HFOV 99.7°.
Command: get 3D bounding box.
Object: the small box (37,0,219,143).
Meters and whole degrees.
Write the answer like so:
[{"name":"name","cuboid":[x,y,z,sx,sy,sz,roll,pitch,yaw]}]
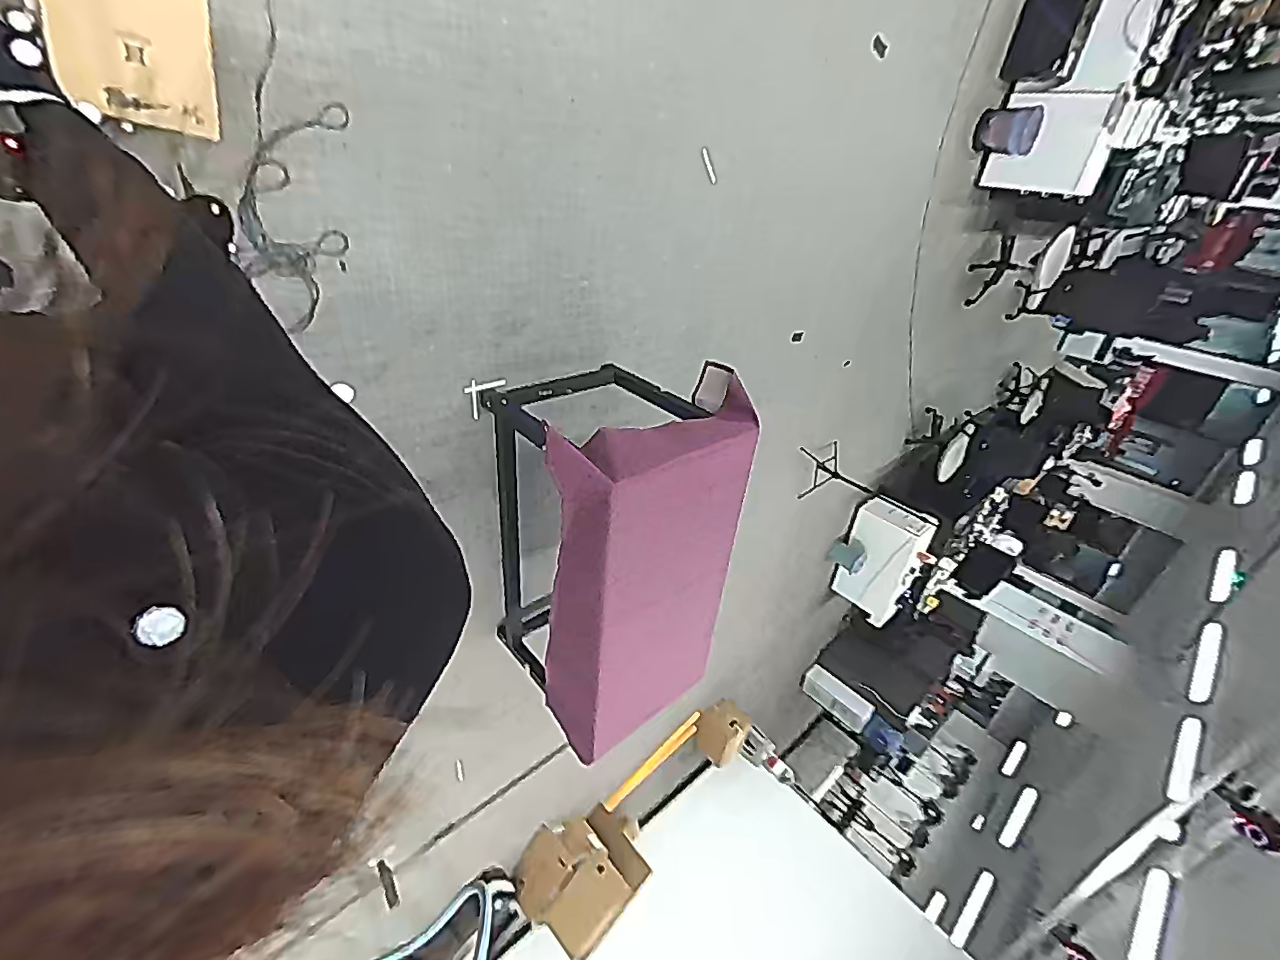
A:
[{"name":"small box","cuboid":[-0.707,-0.592,0.748,0.168,0.176,0.179,-10,122,-43]}]
